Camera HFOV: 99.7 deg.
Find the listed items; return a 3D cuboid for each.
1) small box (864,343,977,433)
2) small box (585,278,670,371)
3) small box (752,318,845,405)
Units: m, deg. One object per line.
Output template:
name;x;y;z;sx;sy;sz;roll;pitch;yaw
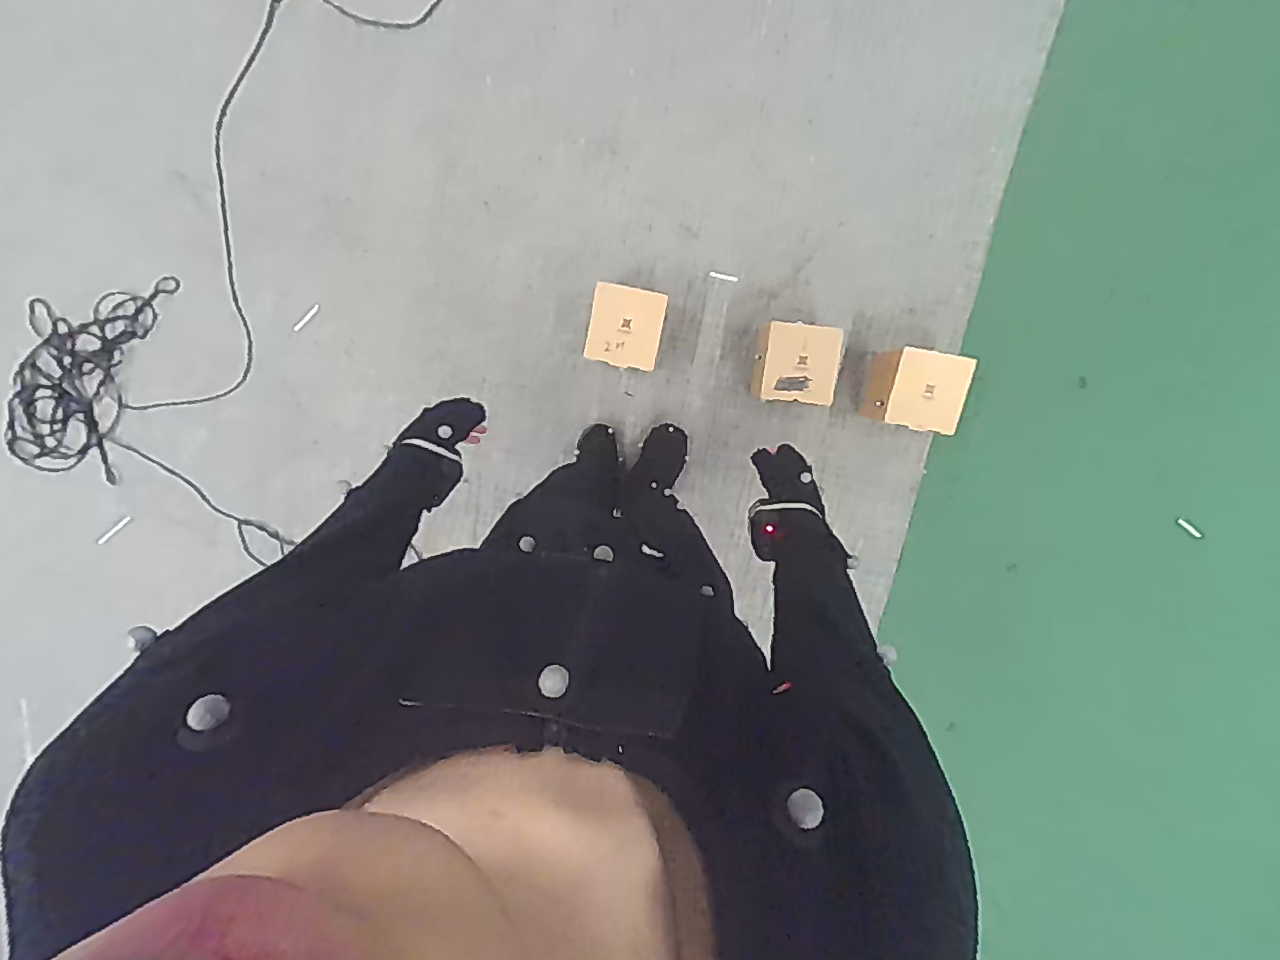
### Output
small box;0.655;-0.219;1.286;0.168;0.176;0.179;11;102;2
small box;-0.025;-0.364;1.292;0.168;0.176;0.179;12;103;2
small box;0.368;-0.280;1.288;0.168;0.176;0.179;7;101;1
